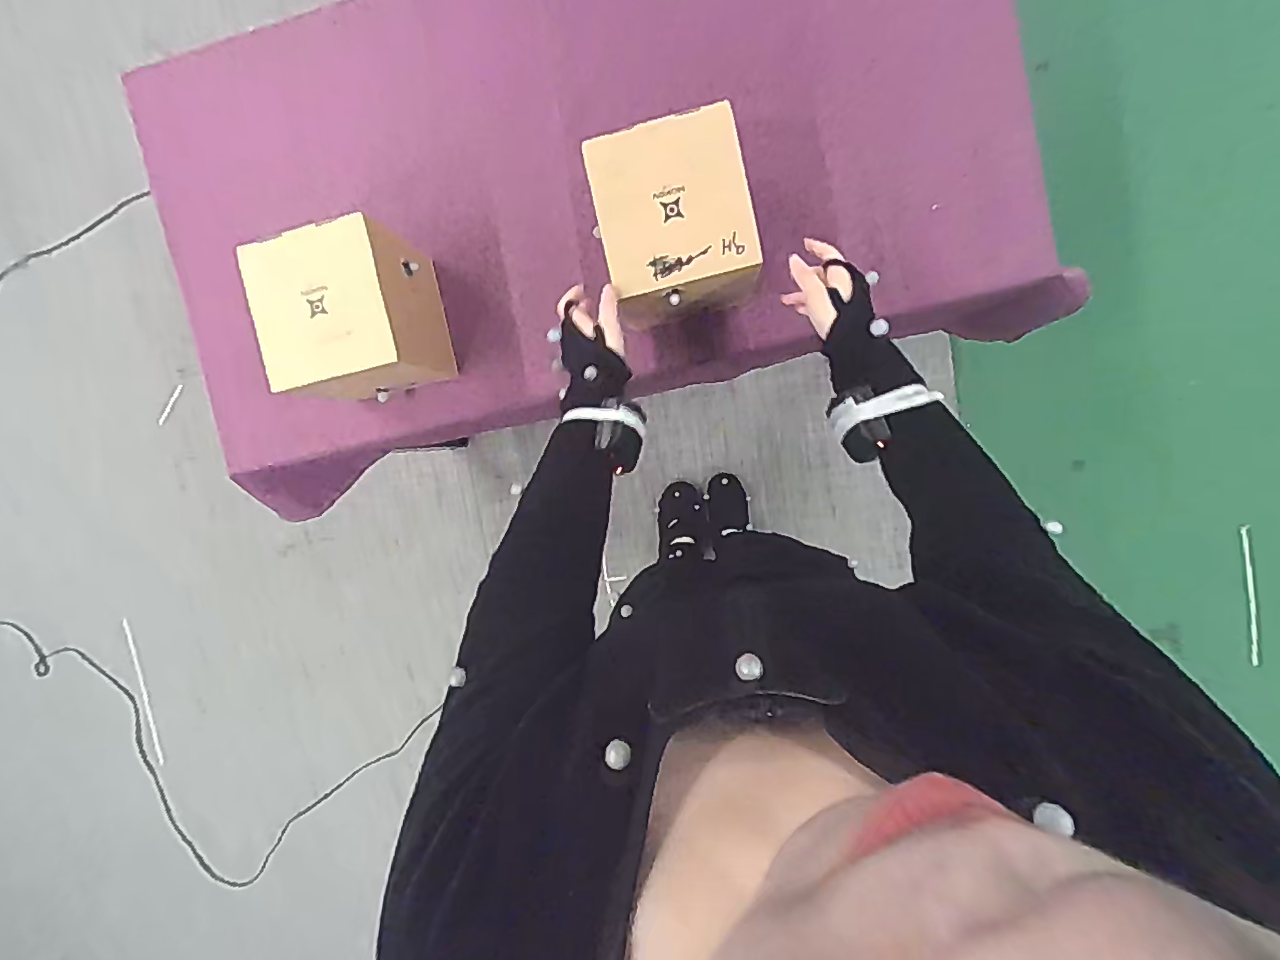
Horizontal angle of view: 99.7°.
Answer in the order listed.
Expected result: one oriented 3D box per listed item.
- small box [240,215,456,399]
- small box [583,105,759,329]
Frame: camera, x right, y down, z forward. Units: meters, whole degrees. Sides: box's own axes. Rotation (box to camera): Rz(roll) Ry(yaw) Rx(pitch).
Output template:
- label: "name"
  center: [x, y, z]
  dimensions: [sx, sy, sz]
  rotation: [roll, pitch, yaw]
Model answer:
- label: "small box"
  center: [-0.367, -0.212, 0.711]
  dimensions: [0.168, 0.176, 0.179]
  rotation: [-11, 94, 7]
- label: "small box"
  center: [0.040, -0.303, 0.664]
  dimensions: [0.168, 0.176, 0.179]
  rotation: [-12, 93, 7]
